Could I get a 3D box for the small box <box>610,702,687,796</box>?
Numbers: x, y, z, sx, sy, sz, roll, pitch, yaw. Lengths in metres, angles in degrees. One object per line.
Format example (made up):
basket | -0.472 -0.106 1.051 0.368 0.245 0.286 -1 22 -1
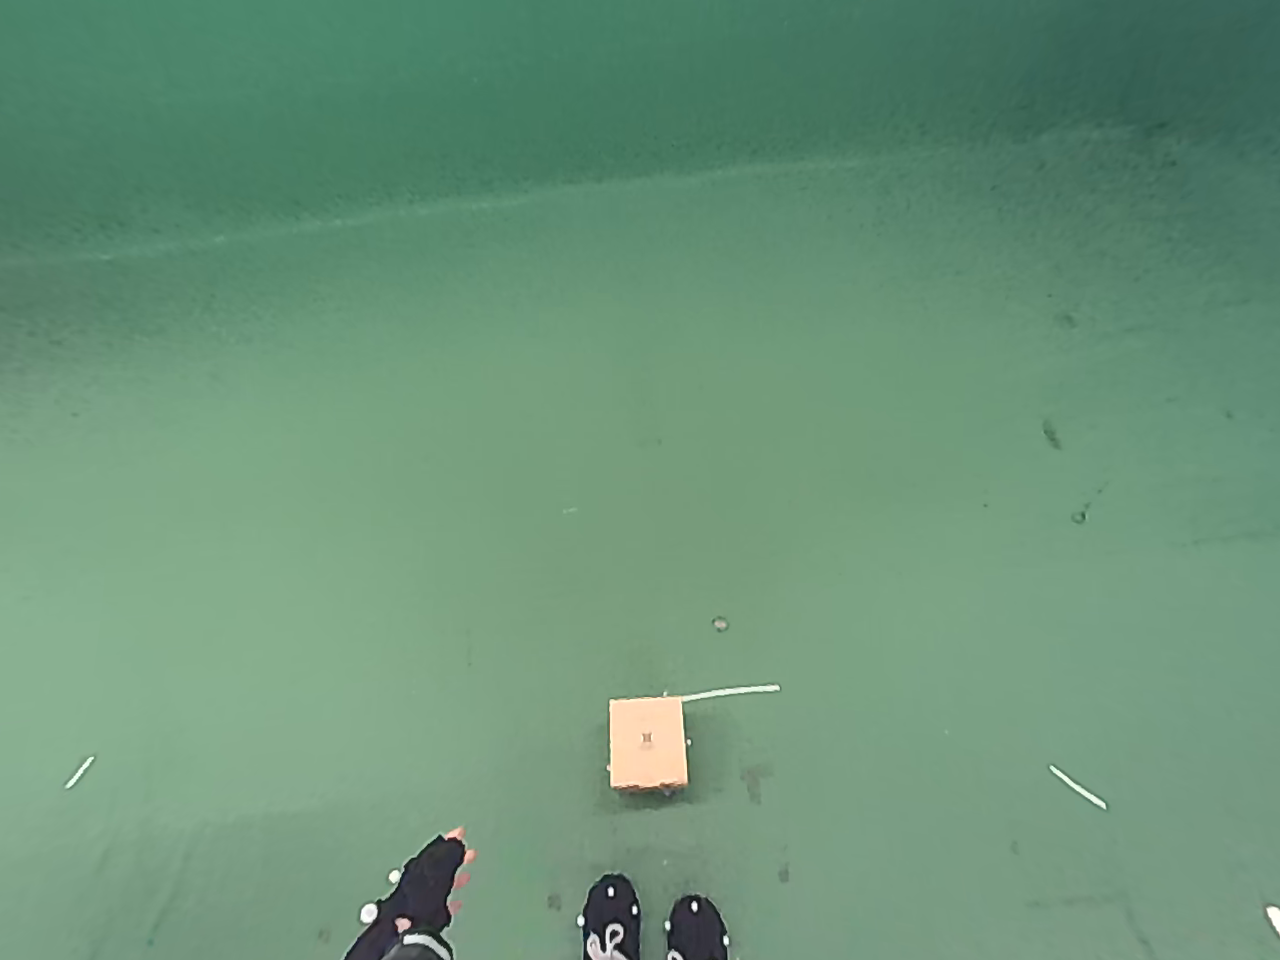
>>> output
small box | 0.020 0.624 1.246 0.168 0.176 0.179 -4 56 1
